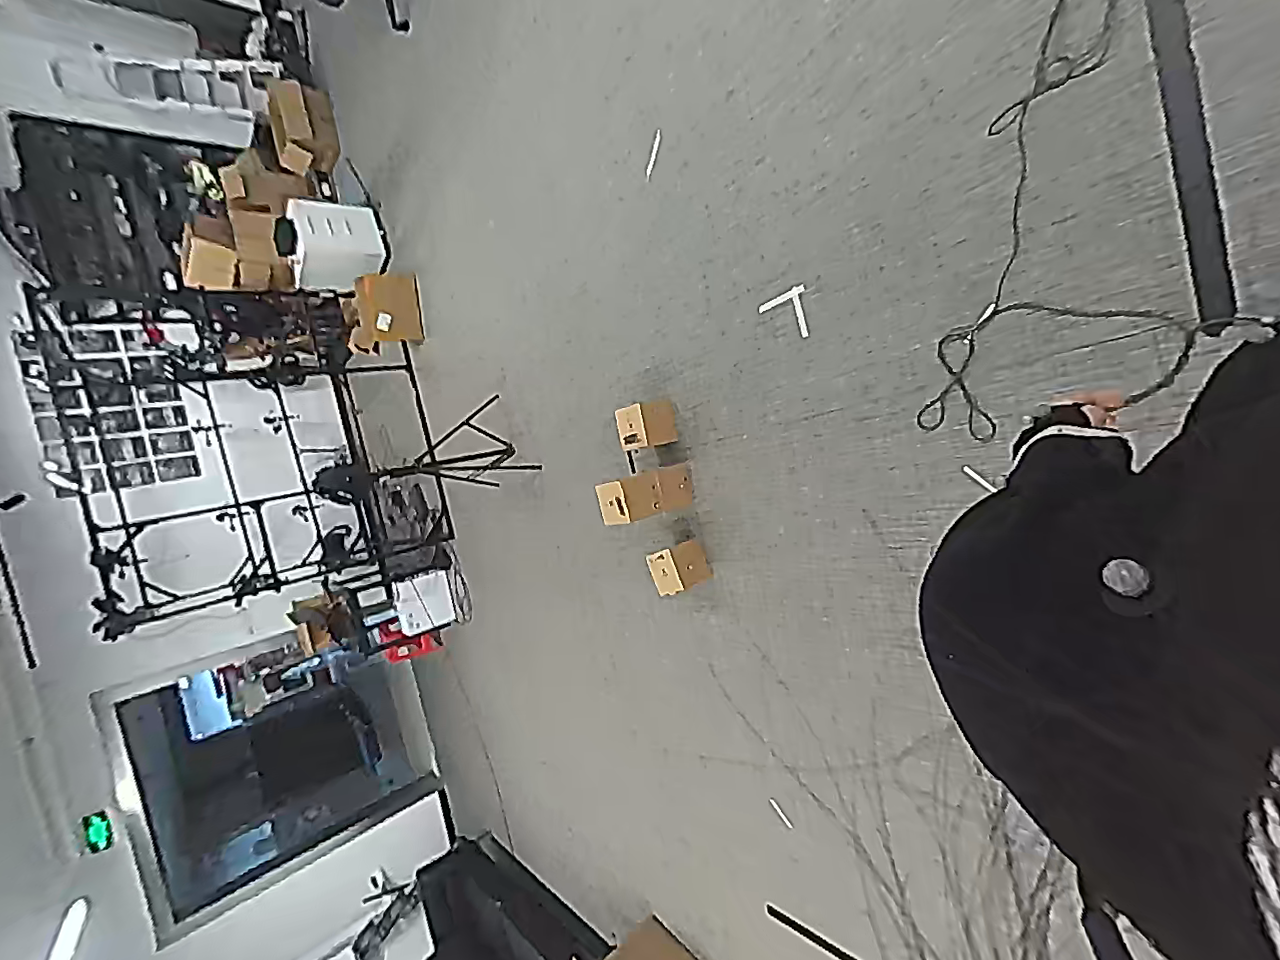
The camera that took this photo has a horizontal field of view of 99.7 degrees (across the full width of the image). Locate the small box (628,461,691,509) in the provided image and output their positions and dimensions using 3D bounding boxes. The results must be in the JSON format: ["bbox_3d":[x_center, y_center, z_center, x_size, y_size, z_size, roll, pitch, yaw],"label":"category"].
[{"bbox_3d":[0.082,0.021,2.203,0.179,0.176,0.168,-6,98,50],"label":"small box"}]

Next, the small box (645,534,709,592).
[{"bbox_3d":[0.156,0.341,2.223,0.168,0.176,0.179,-30,80,50],"label":"small box"}]

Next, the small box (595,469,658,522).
[{"bbox_3d":[-0.046,0.059,2.107,0.179,0.176,0.168,-12,93,52],"label":"small box"}]
